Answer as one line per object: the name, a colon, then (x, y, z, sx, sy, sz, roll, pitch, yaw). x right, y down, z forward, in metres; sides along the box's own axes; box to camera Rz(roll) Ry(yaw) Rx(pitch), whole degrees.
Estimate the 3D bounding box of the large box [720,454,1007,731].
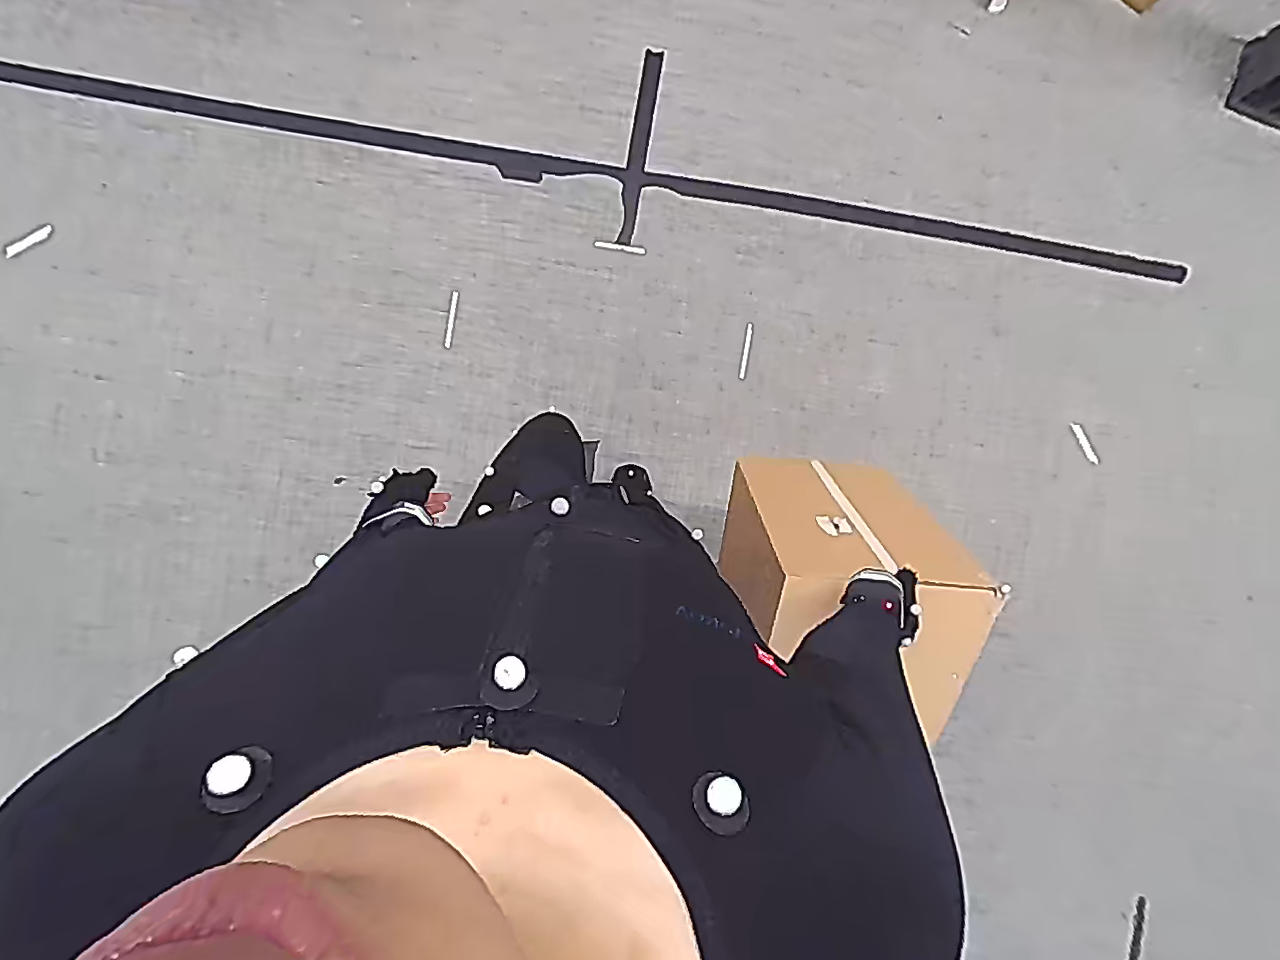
large box: (0.346, 0.182, 0.990, 0.320, 0.408, 0.320, 3, 118, -2)
